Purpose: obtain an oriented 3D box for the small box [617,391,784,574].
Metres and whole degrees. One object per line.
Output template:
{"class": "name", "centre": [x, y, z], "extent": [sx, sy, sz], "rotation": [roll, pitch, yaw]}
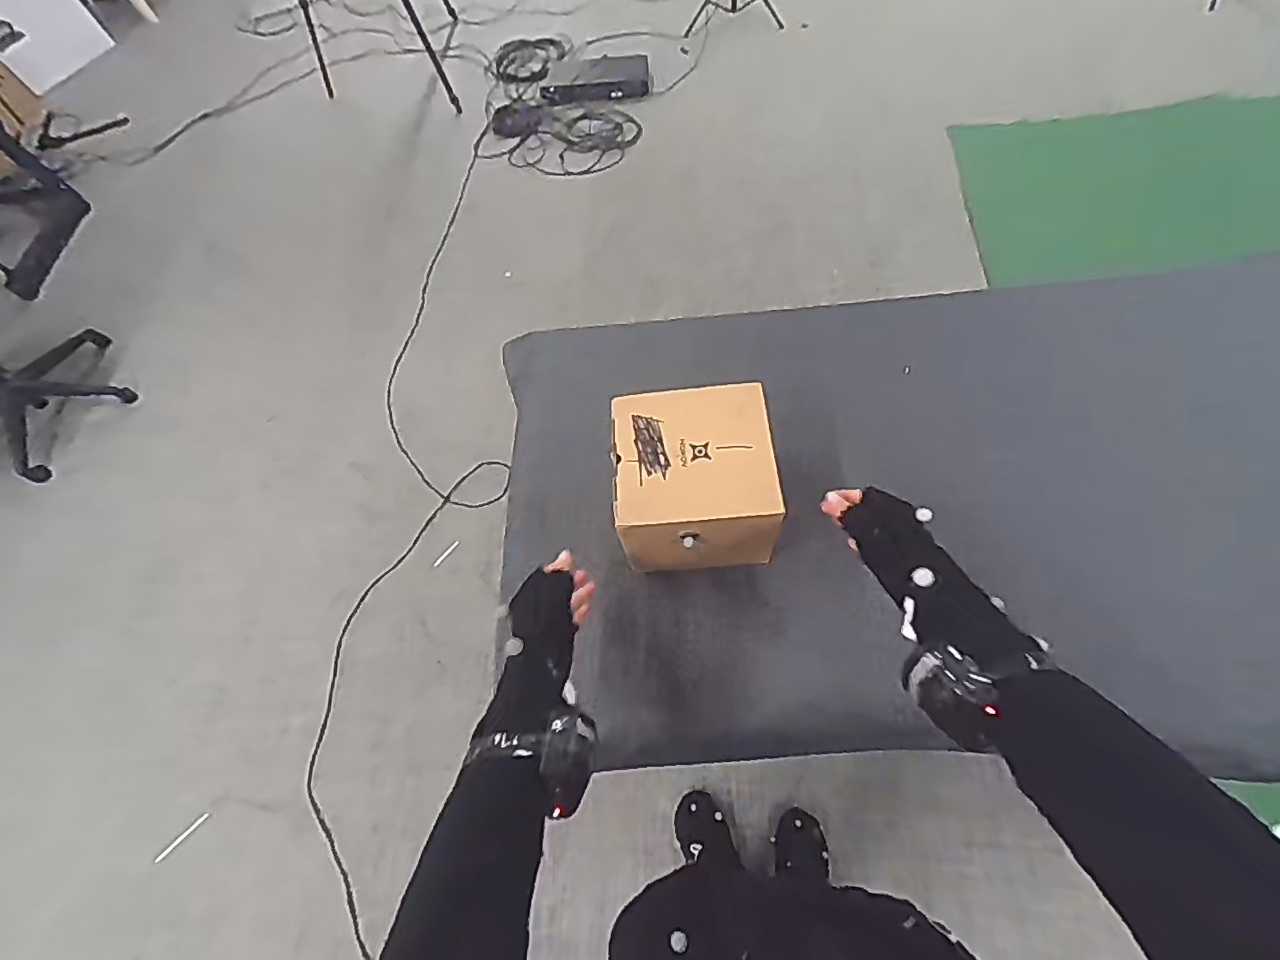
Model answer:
{"class": "small box", "centre": [0.070, 0.012, 0.668], "extent": [0.179, 0.176, 0.168], "rotation": [-4, 64, 4]}
